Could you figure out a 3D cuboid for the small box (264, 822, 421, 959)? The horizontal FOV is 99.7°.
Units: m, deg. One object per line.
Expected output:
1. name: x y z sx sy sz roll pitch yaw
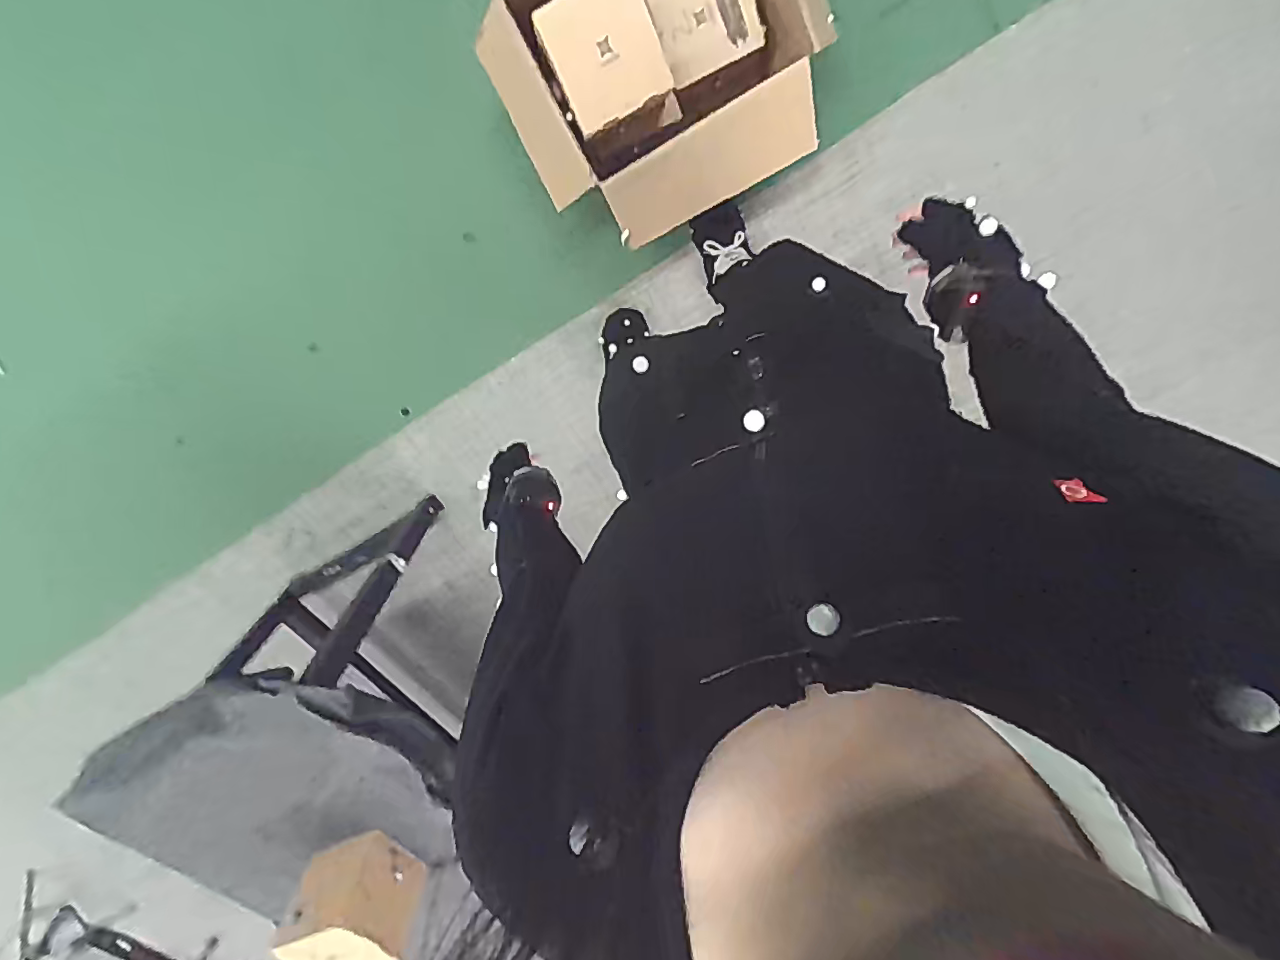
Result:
1. small box: -0.564 0.811 1.053 0.179 0.176 0.168 -27 116 11
